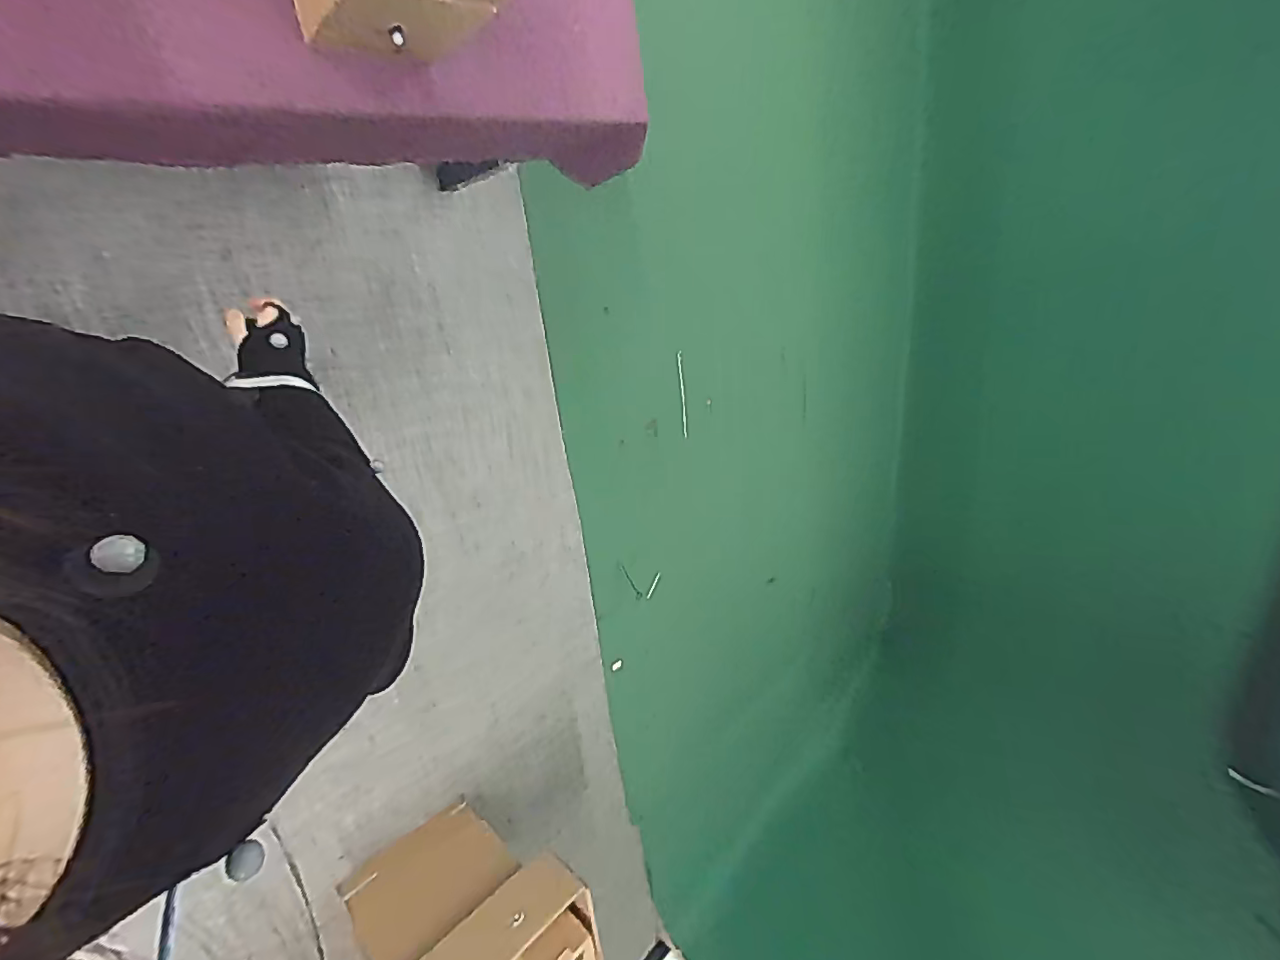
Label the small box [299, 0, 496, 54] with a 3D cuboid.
[{"bbox_3d":[-0.288,-0.611,0.599,0.168,0.176,0.179,-27,118,-39],"label":"small box"}]
